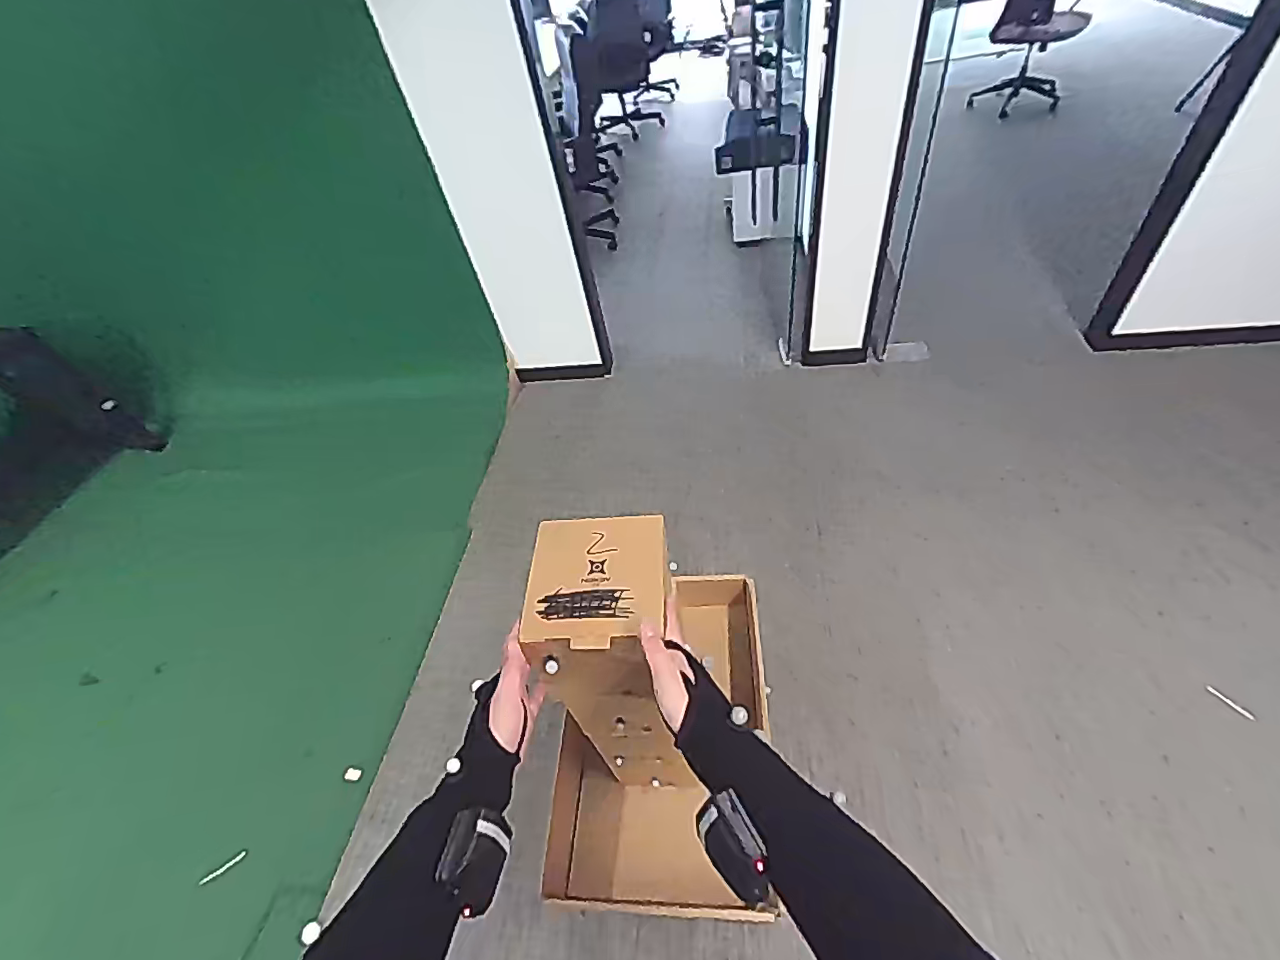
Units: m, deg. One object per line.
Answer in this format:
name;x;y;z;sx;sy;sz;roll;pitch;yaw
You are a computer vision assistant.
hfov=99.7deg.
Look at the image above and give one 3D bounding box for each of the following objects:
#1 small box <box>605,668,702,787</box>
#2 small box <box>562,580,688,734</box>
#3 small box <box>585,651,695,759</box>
small box;0.034;0.492;1.081;0.168;0.176;0.179;-3;47;10
small box;-0.014;0.276;0.841;0.168;0.176;0.179;-5;48;7
small box;0.008;0.383;0.962;0.168;0.176;0.179;-4;46;8
